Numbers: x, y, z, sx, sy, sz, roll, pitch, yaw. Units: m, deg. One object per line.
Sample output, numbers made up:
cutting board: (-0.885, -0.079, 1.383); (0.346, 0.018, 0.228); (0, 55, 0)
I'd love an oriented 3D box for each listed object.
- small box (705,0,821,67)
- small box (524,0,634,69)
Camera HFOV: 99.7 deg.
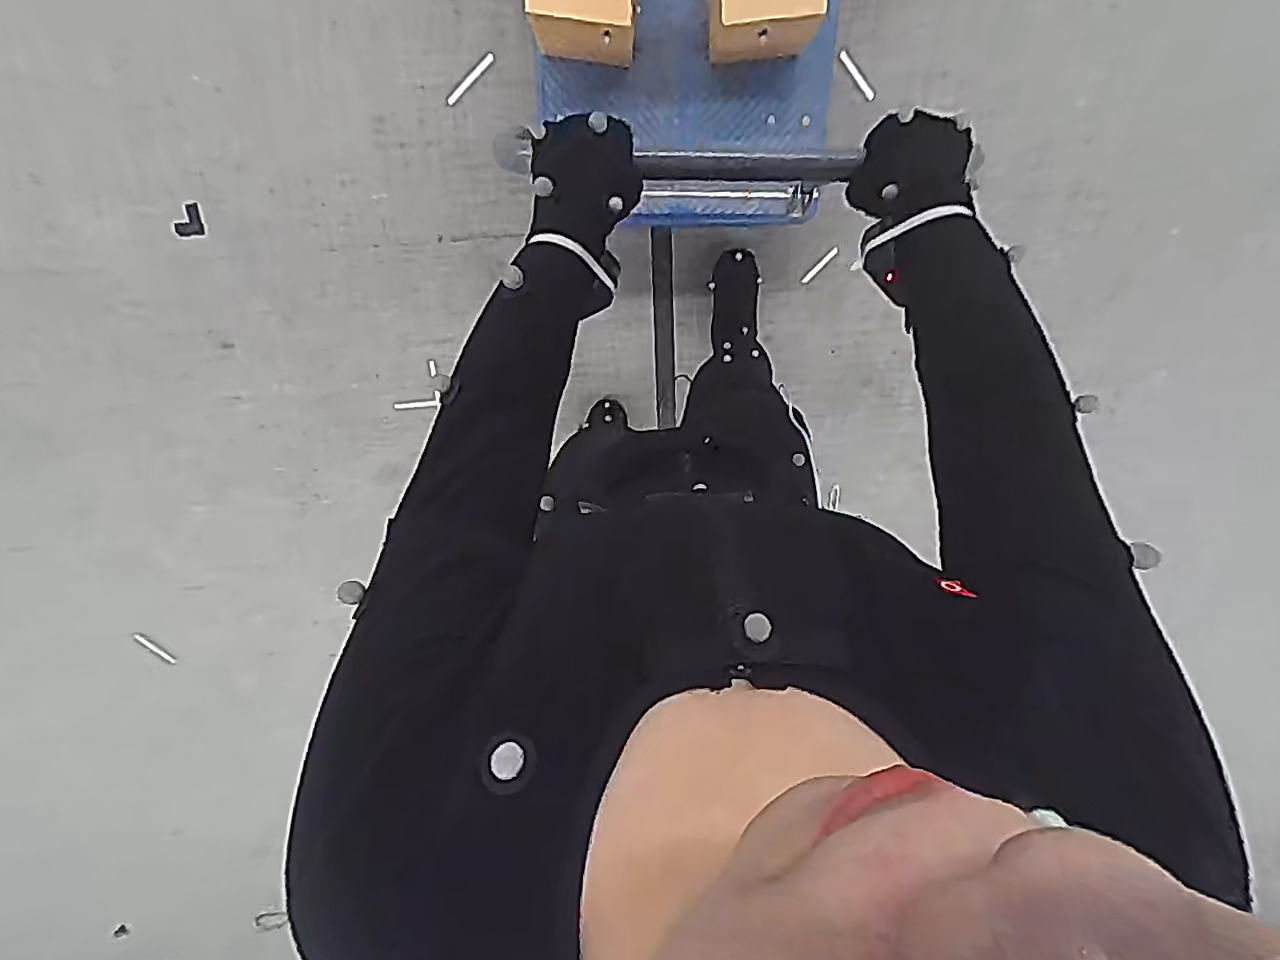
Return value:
small box: (0.207, -0.856, 0.947); (0.179, 0.176, 0.168); (-5, 110, 1)
small box: (-0.099, -0.852, 0.945); (0.179, 0.176, 0.168); (5, 109, -4)
